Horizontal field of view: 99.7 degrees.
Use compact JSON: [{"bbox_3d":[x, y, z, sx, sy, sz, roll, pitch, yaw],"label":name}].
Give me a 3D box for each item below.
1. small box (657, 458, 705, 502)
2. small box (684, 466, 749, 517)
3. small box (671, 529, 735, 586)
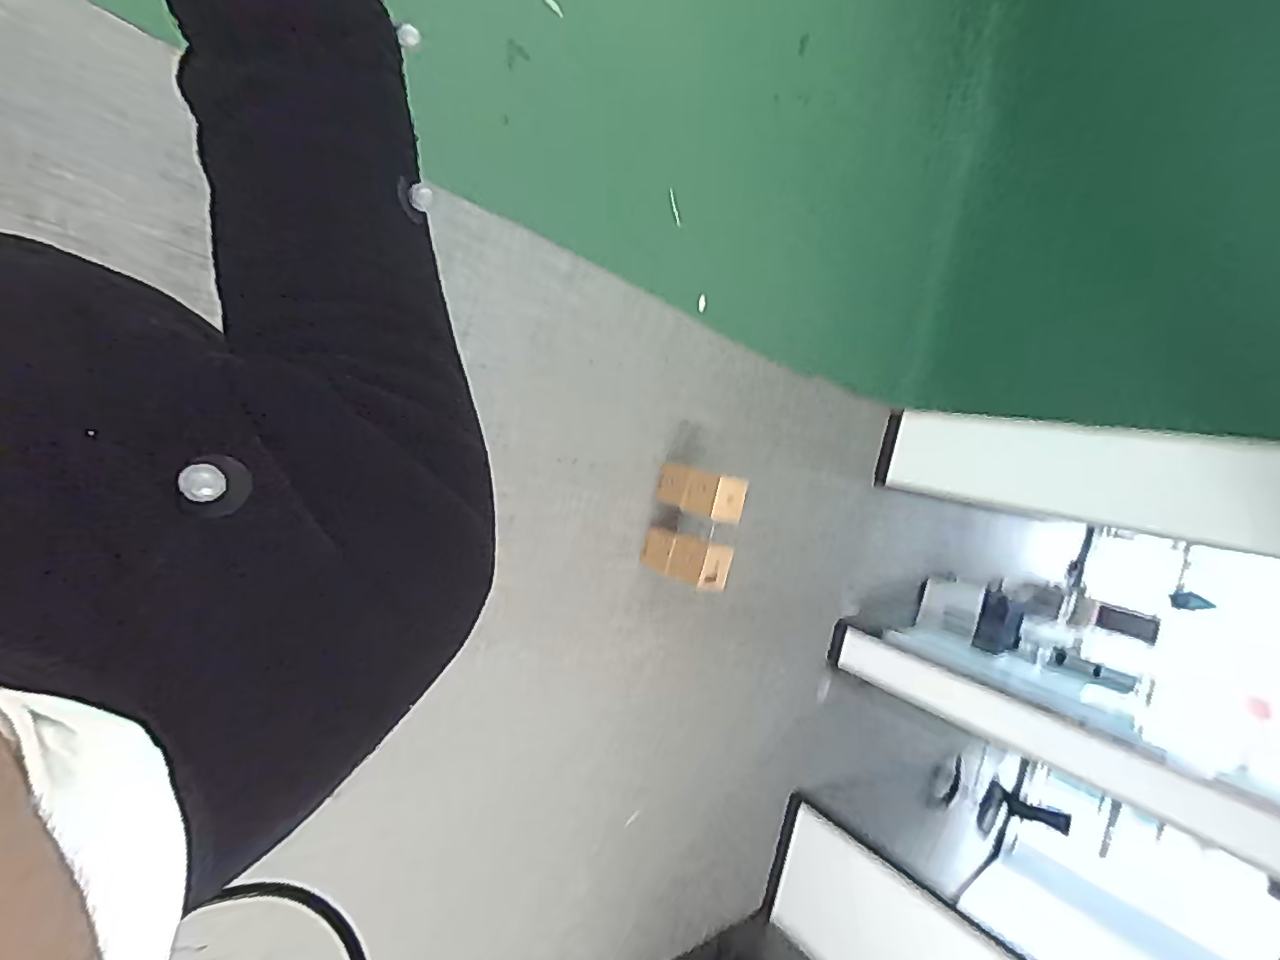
[{"bbox_3d":[0.197,0.010,2.256,0.179,0.176,0.168,14,93,-41],"label":"small box"},{"bbox_3d":[0.298,0.043,2.135,0.179,0.176,0.168,10,94,-42],"label":"small box"},{"bbox_3d":[0.245,0.308,2.157,0.168,0.176,0.179,15,91,-42],"label":"small box"}]
